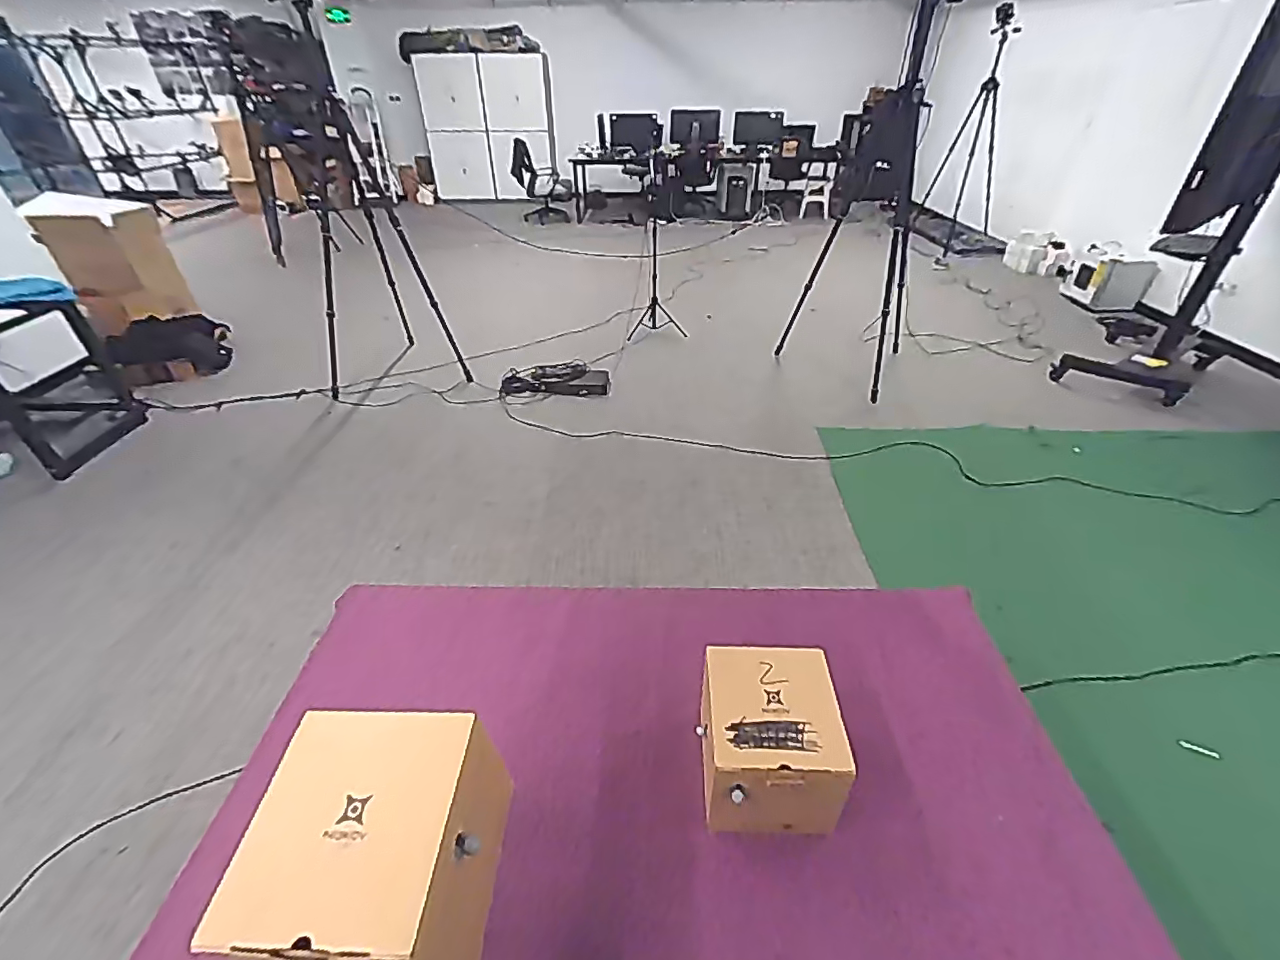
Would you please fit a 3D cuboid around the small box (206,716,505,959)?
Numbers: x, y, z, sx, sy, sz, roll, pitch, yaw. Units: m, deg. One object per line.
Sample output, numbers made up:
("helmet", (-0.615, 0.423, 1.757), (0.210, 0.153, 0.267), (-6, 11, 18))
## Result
("small box", (-0.236, 0.347, 0.510), (0.168, 0.176, 0.179), (-1, 42, 3))
